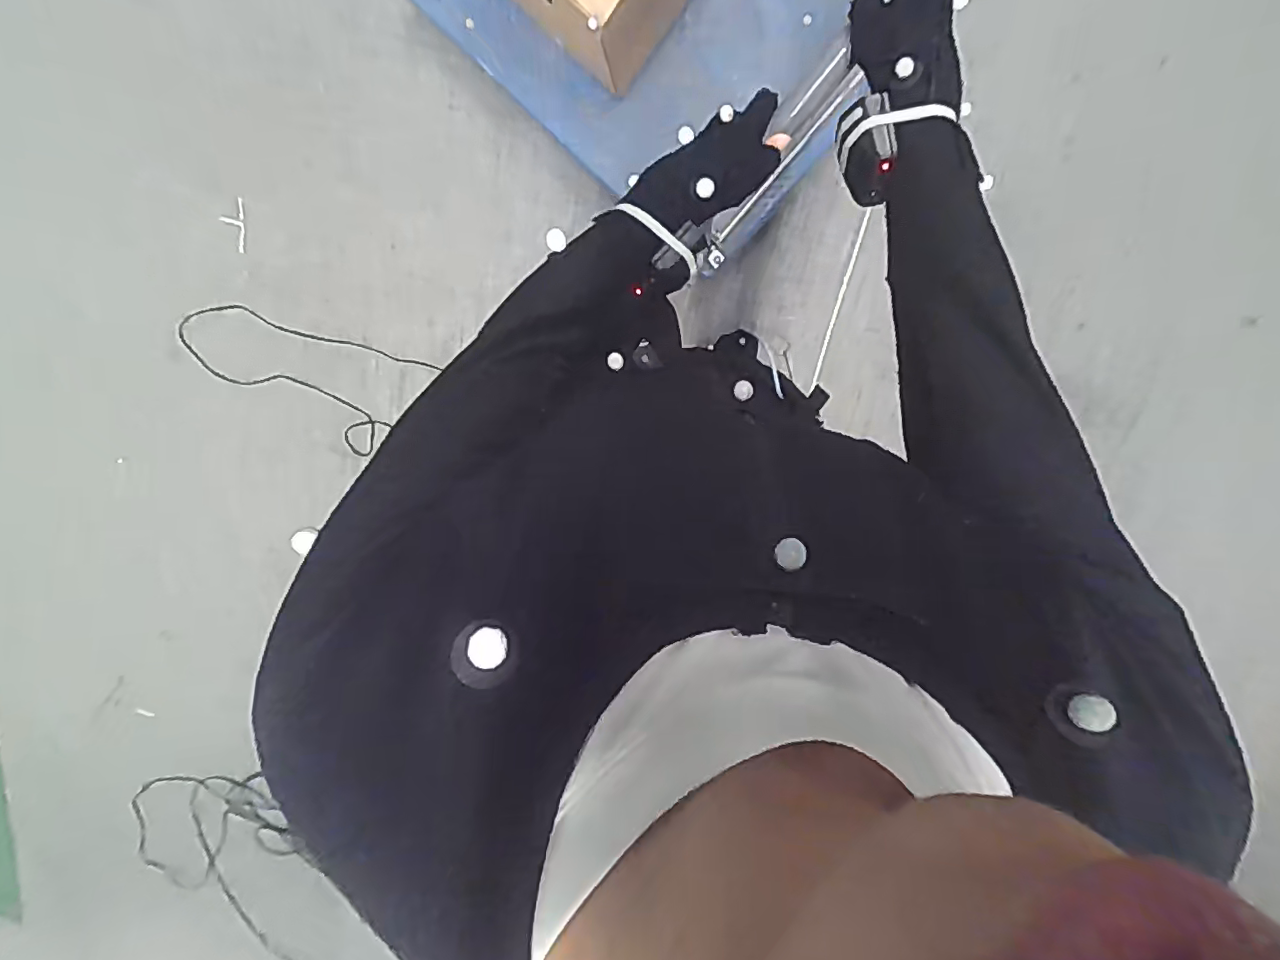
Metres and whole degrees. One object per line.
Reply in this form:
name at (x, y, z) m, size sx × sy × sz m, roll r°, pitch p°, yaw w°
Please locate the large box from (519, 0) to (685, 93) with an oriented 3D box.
large box at (-0.038, -0.956, 0.863) m, size 0.320 × 0.320 × 0.408 m, roll 39°, pitch 108°, yaw -8°
